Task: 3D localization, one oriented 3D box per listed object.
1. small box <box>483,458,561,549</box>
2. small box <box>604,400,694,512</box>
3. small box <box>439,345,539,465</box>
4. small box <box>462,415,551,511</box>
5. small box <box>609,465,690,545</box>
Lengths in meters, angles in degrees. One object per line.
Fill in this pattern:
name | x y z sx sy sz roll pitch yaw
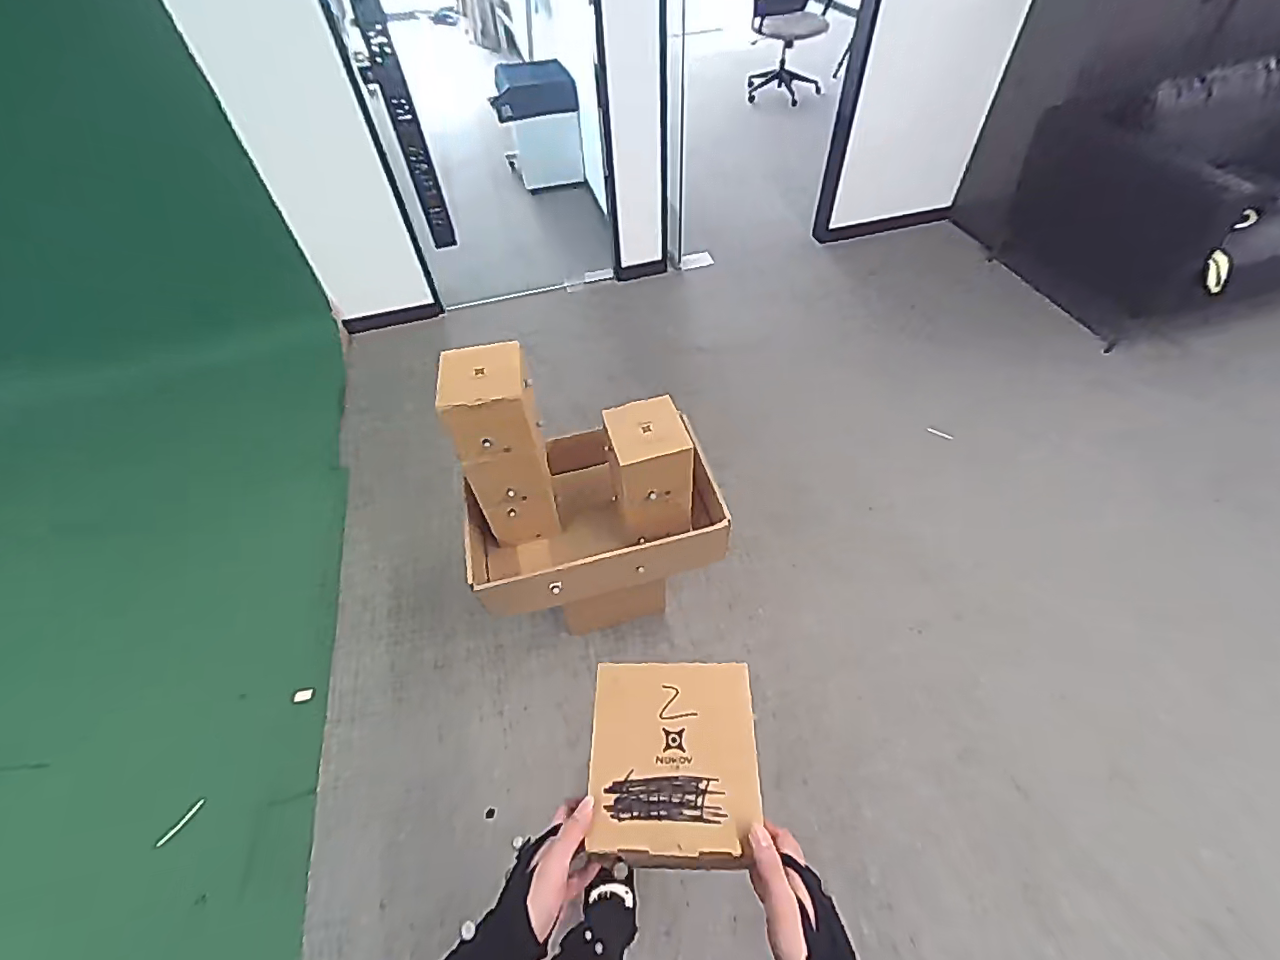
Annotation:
small box | -0.304 0.051 1.394 0.168 0.176 0.179 -11 51 -7
small box | 0.018 -0.055 1.251 0.168 0.176 0.179 -14 52 -8
small box | -0.312 -0.158 1.143 0.168 0.176 0.179 -9 52 -4
small box | -0.309 -0.054 1.267 0.168 0.176 0.179 -10 51 -5
small box | 0.025 0.047 1.378 0.168 0.176 0.179 -13 51 -8
